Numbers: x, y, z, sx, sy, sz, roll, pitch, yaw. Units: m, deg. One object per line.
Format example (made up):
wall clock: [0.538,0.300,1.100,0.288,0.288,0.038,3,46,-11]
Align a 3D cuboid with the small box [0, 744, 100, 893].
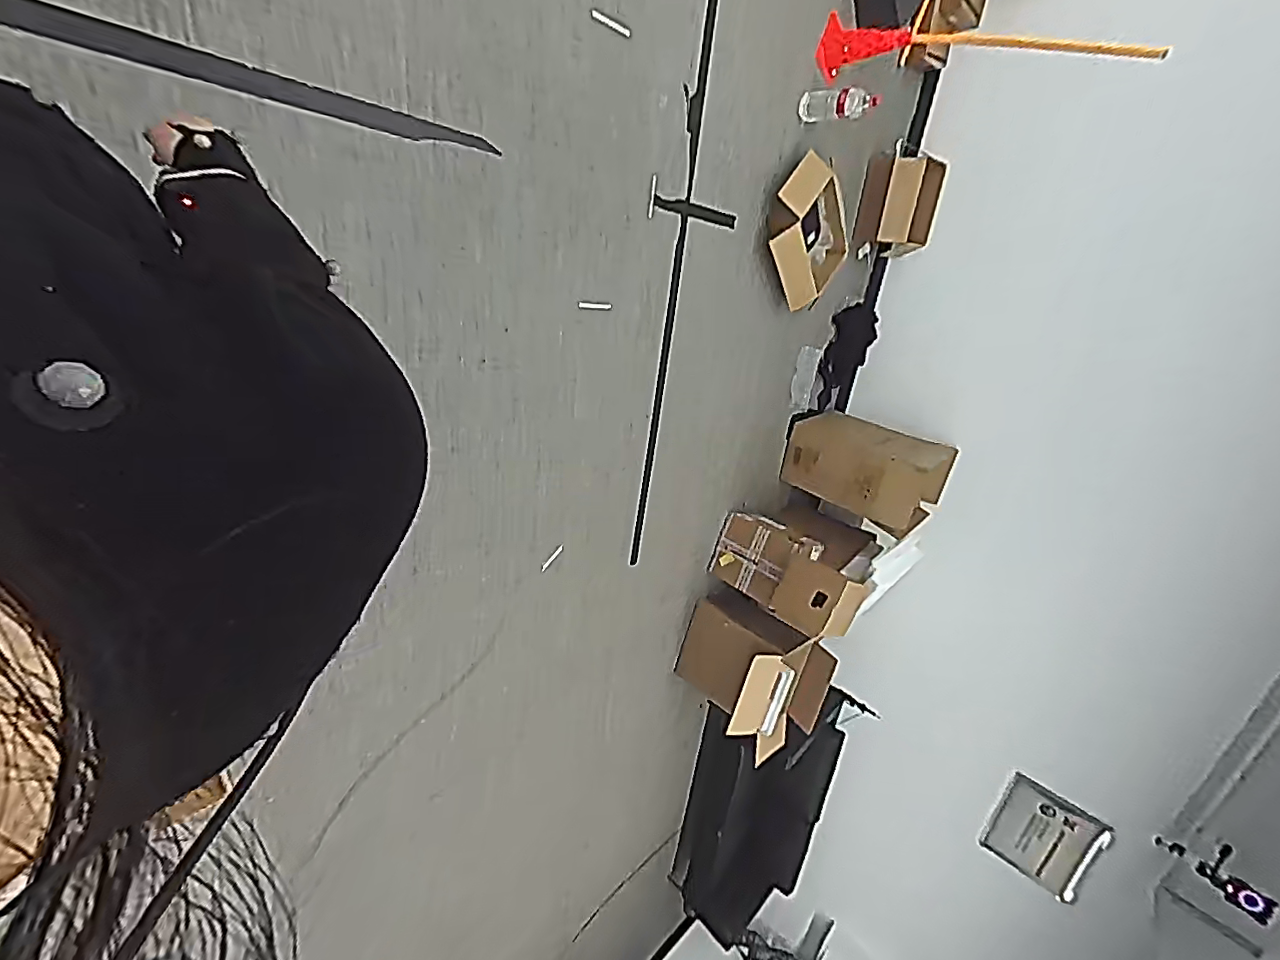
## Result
small box: [-1.288,0.705,1.141,0.168,0.176,0.179,-23,127,-42]
